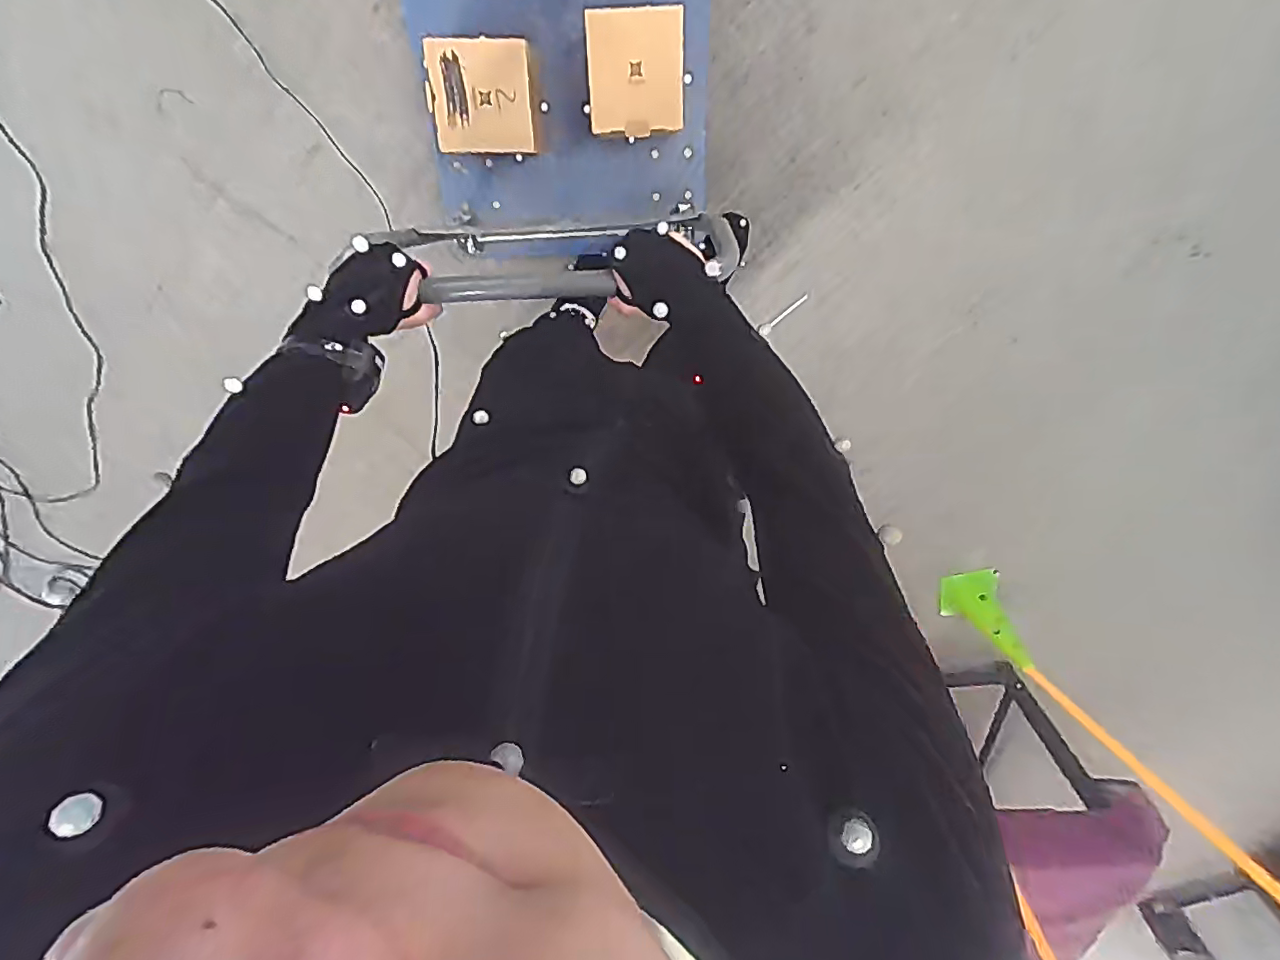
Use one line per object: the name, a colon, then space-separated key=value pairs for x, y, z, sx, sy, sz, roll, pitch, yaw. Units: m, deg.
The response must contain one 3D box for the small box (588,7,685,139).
small box: x=-0.006 y=-0.745 z=1.006 sx=0.168 sy=0.176 sz=0.179 roll=-3 pitch=121 yaw=1
